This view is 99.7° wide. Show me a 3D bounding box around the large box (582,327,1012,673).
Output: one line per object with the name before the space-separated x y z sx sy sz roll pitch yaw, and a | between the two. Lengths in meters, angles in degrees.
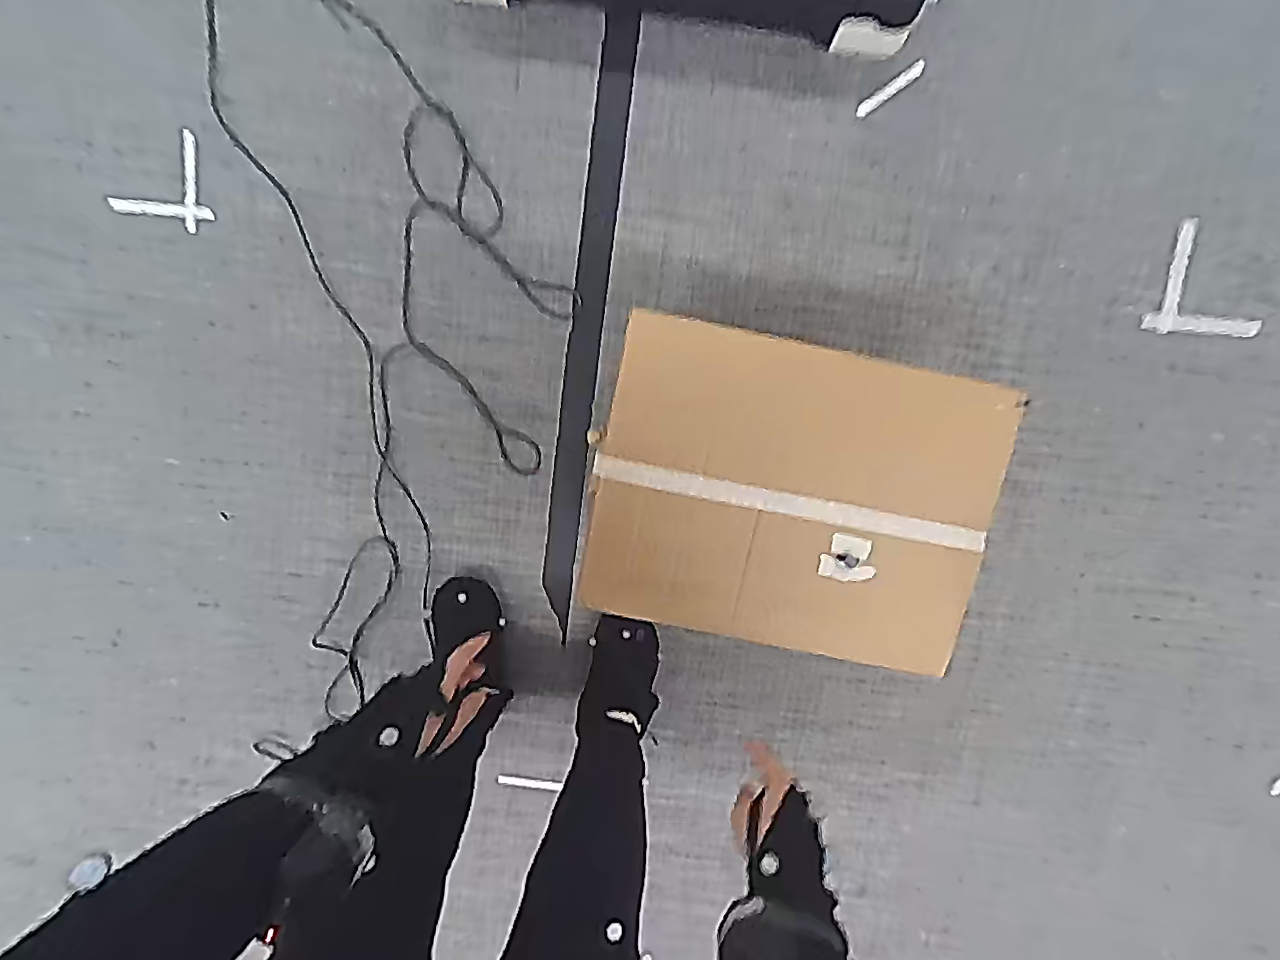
large box | 0.155 0.009 0.710 0.408 0.320 0.320 11 99 -2
